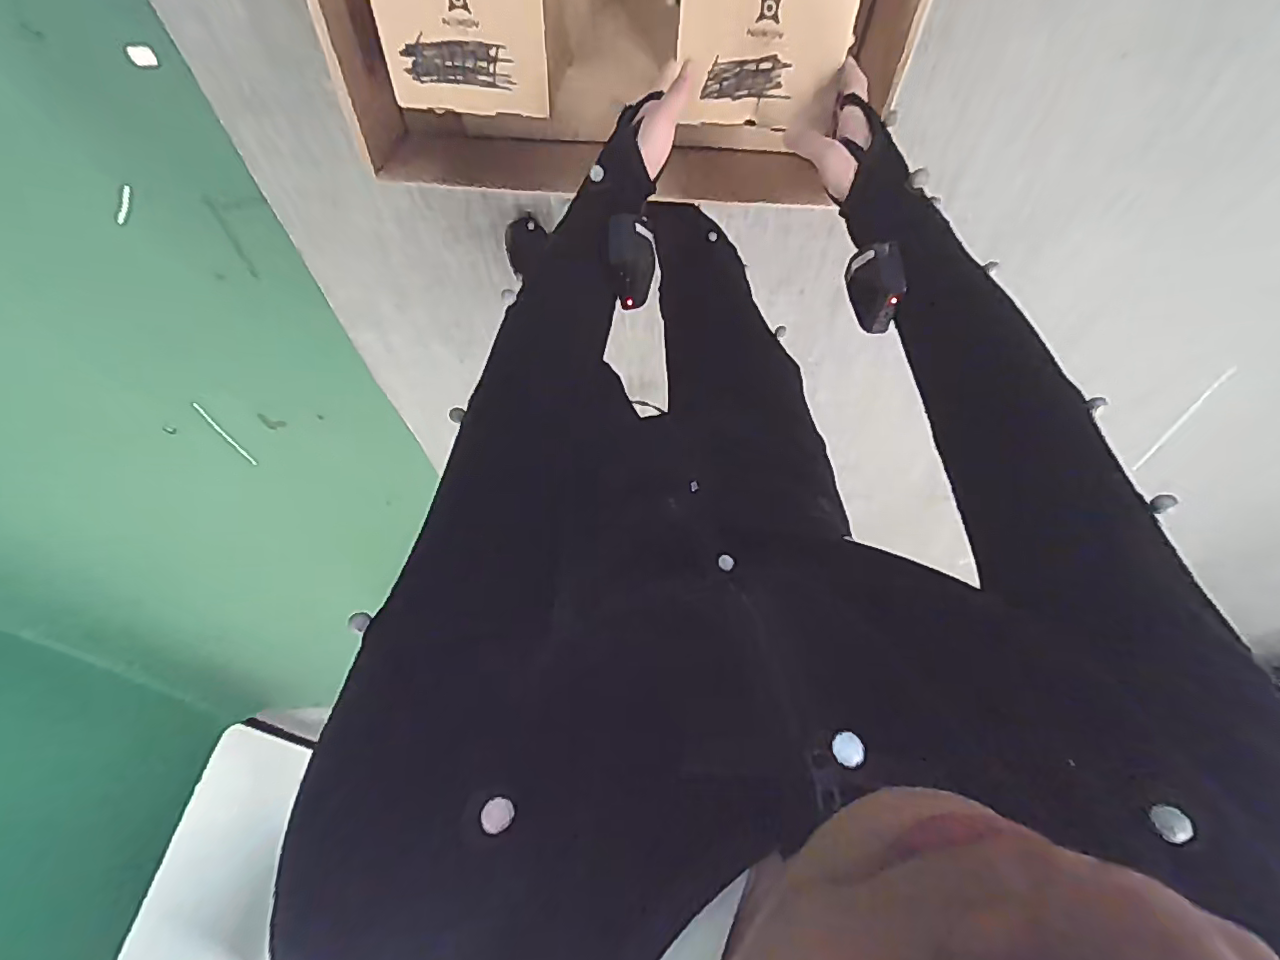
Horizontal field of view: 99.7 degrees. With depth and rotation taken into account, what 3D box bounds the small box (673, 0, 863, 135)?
[{"bbox_3d":[0.126,-0.483,0.564,0.168,0.176,0.179,4,132,0],"label":"small box"}]
